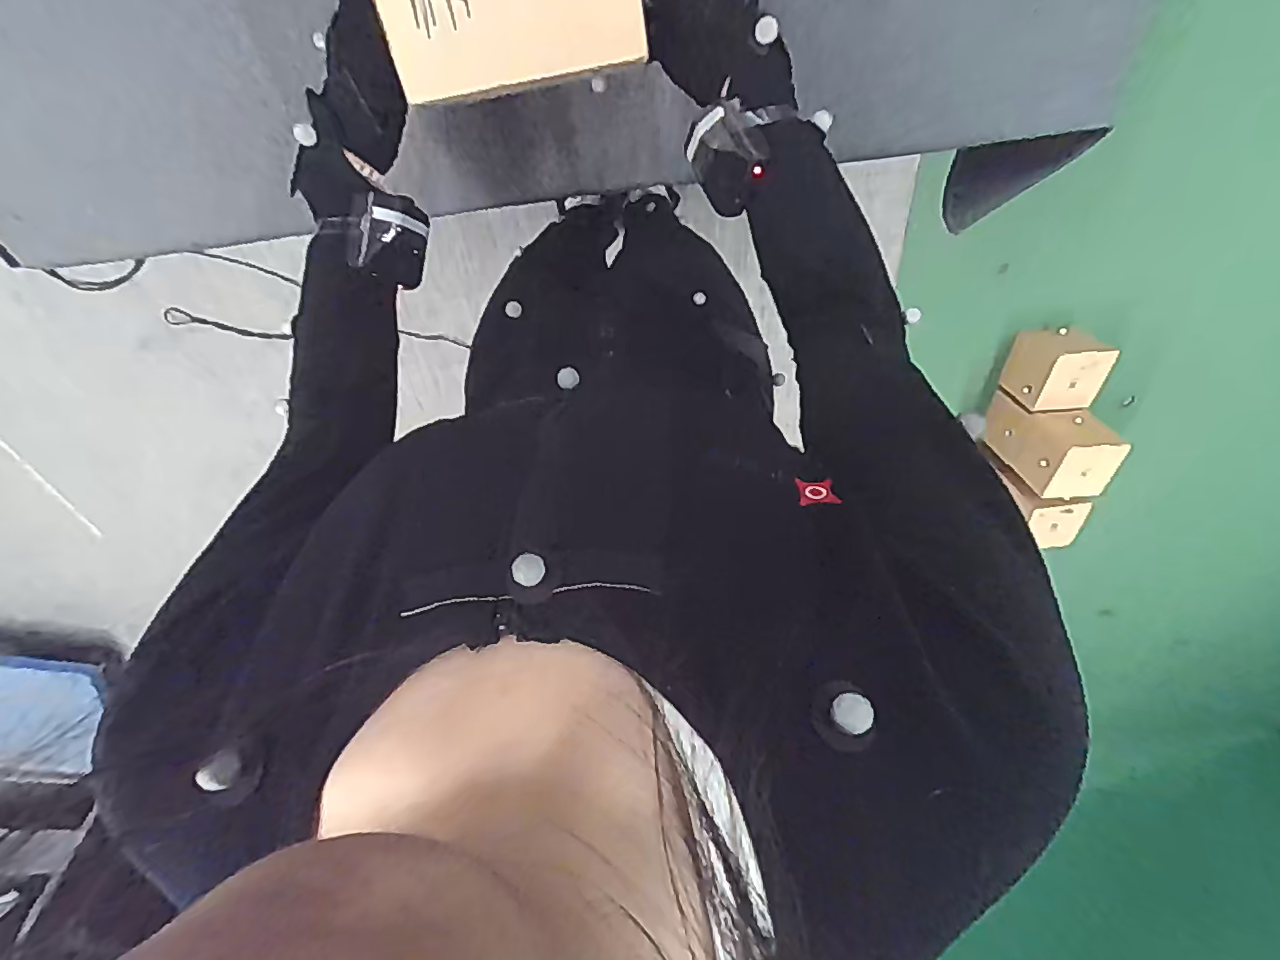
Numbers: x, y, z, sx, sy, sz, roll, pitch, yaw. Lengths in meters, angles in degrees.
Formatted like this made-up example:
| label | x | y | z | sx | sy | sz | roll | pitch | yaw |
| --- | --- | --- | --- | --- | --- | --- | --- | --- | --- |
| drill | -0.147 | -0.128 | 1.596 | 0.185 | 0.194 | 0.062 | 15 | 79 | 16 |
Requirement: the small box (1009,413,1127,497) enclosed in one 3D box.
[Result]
| label | x | y | z | sx | sy | sz | roll | pitch | yaw |
| --- | --- | --- | --- | --- | --- | --- | --- | --- | --- |
| small box | 1.179 | -0.071 | 1.511 | 0.168 | 0.176 | 0.179 | -2 | 128 | -2 |

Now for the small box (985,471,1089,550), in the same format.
| label | x | y | z | sx | sy | sz | roll | pitch | yaw |
| --- | --- | --- | --- | --- | --- | --- | --- | --- | --- |
| small box | 1.188 | 0.086 | 1.637 | 0.168 | 0.176 | 0.179 | -7 | 130 | 0 |
